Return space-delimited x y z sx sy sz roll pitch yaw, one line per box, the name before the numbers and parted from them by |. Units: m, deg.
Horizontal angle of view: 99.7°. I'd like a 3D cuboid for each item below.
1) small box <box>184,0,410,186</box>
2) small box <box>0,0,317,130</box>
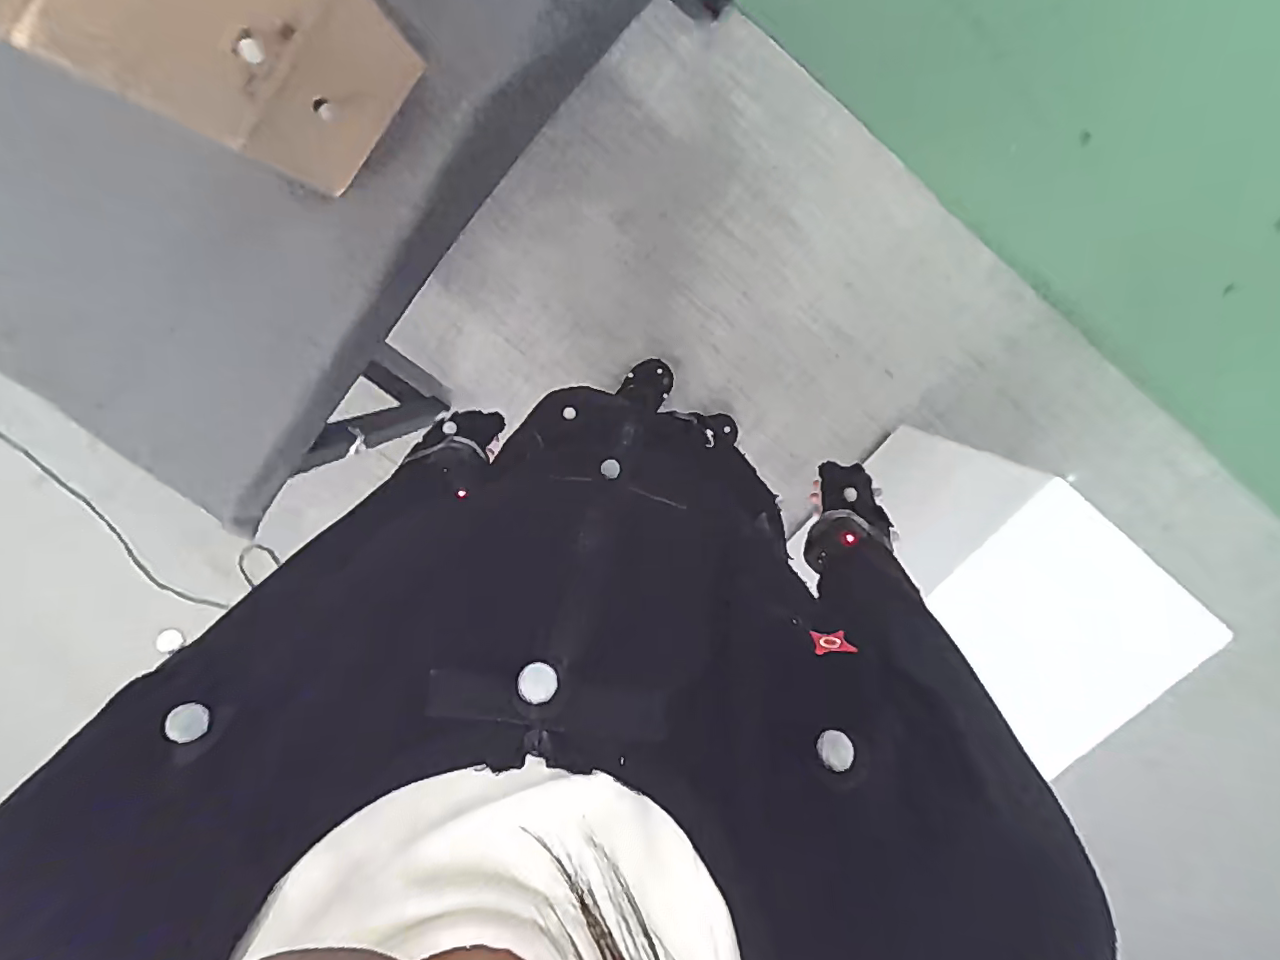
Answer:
small box | -0.357 -0.421 0.514 0.168 0.176 0.179 40 104 -7
small box | -0.364 -0.380 0.355 0.179 0.176 0.168 38 103 -5
